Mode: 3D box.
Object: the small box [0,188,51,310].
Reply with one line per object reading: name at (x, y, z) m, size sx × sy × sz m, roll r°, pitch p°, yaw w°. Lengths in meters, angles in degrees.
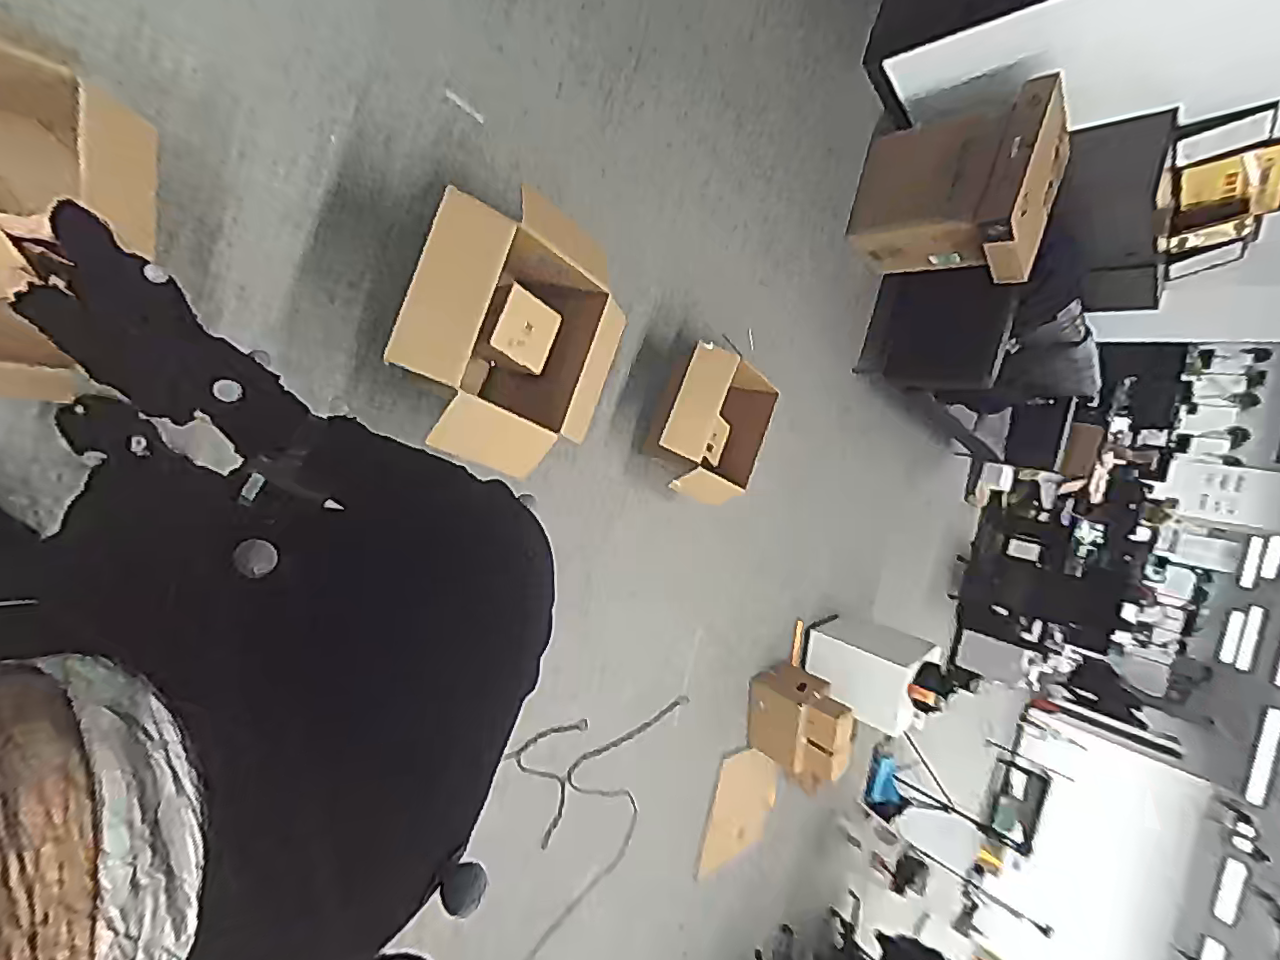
small box at (-0.491, -0.175, 0.295) m, size 0.168 × 0.176 × 0.179 m, roll -33°, pitch 136°, yaw -28°
